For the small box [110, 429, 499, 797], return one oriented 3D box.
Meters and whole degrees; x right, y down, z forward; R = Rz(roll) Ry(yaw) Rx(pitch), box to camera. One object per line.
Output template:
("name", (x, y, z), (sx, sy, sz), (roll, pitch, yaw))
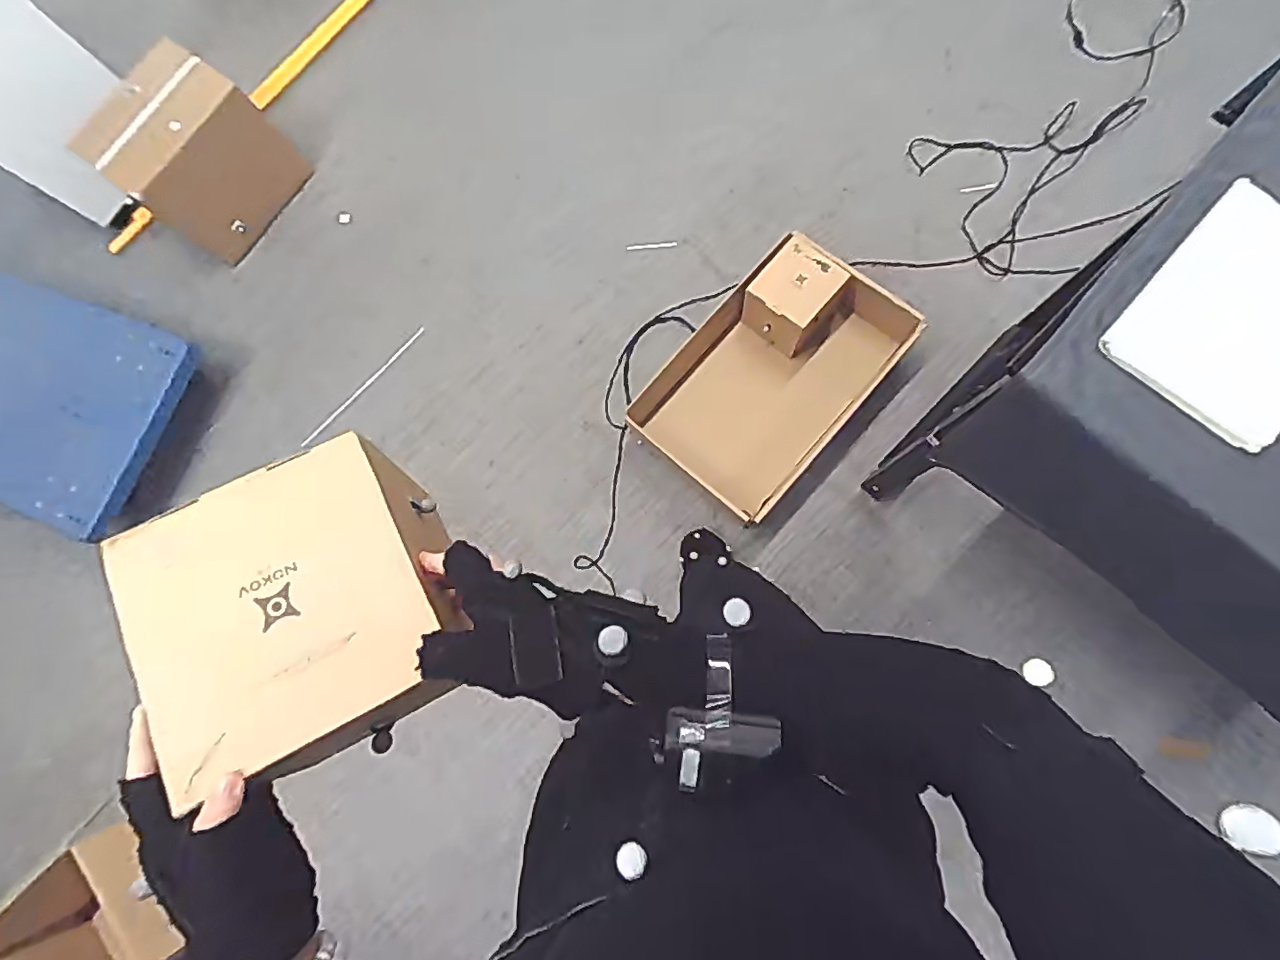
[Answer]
("small box", (-0.227, 0.095, 0.409), (0.168, 0.176, 0.179), (-27, 76, -11))
